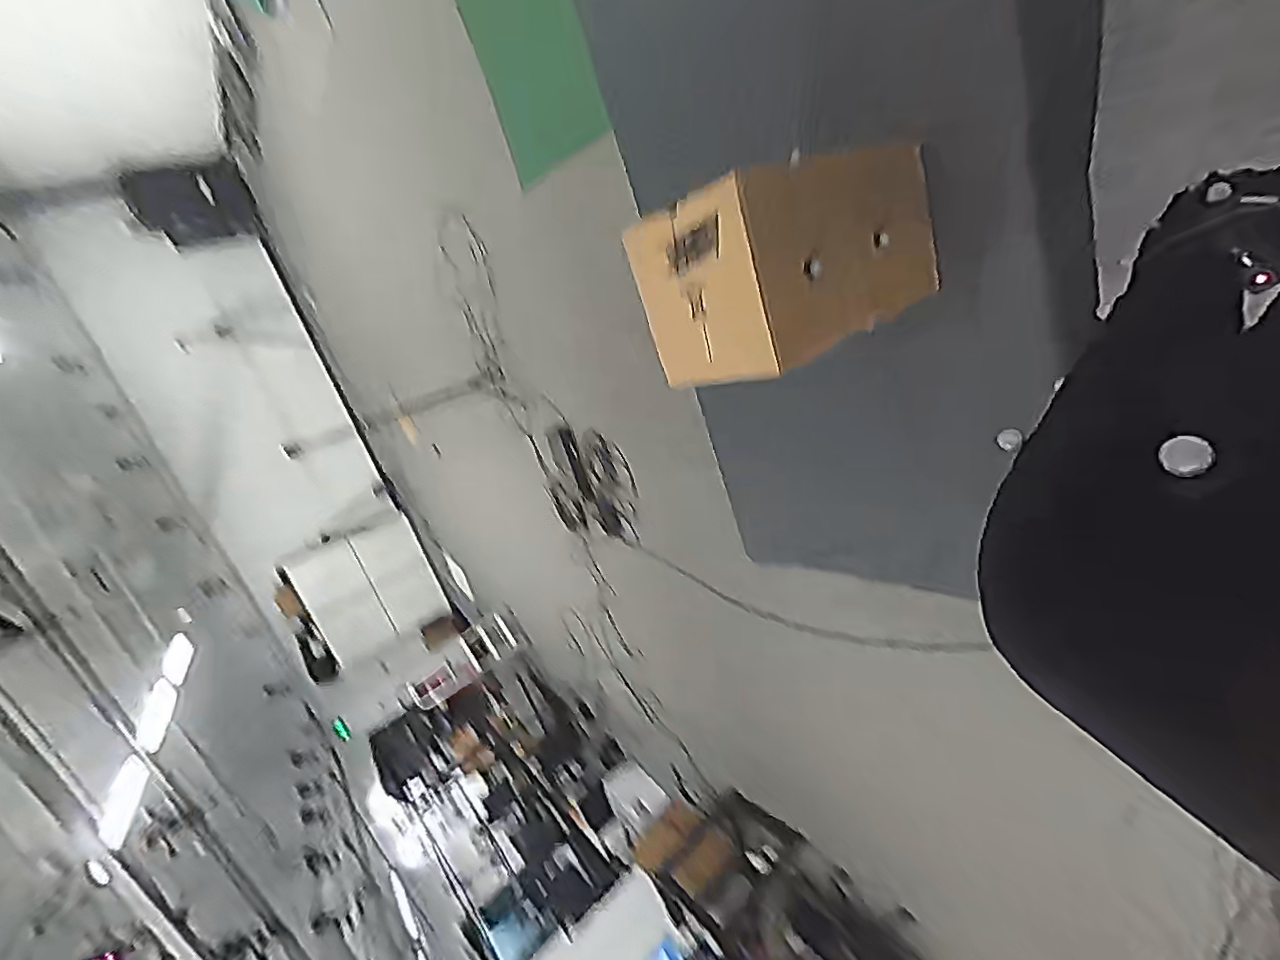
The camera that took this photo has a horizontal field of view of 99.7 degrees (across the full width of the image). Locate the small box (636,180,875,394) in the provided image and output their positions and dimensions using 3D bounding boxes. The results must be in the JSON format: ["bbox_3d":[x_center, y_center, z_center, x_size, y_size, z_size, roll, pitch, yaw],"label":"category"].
[{"bbox_3d":[0.129,-0.209,0.594,0.168,0.176,0.179,6,121,55],"label":"small box"}]
